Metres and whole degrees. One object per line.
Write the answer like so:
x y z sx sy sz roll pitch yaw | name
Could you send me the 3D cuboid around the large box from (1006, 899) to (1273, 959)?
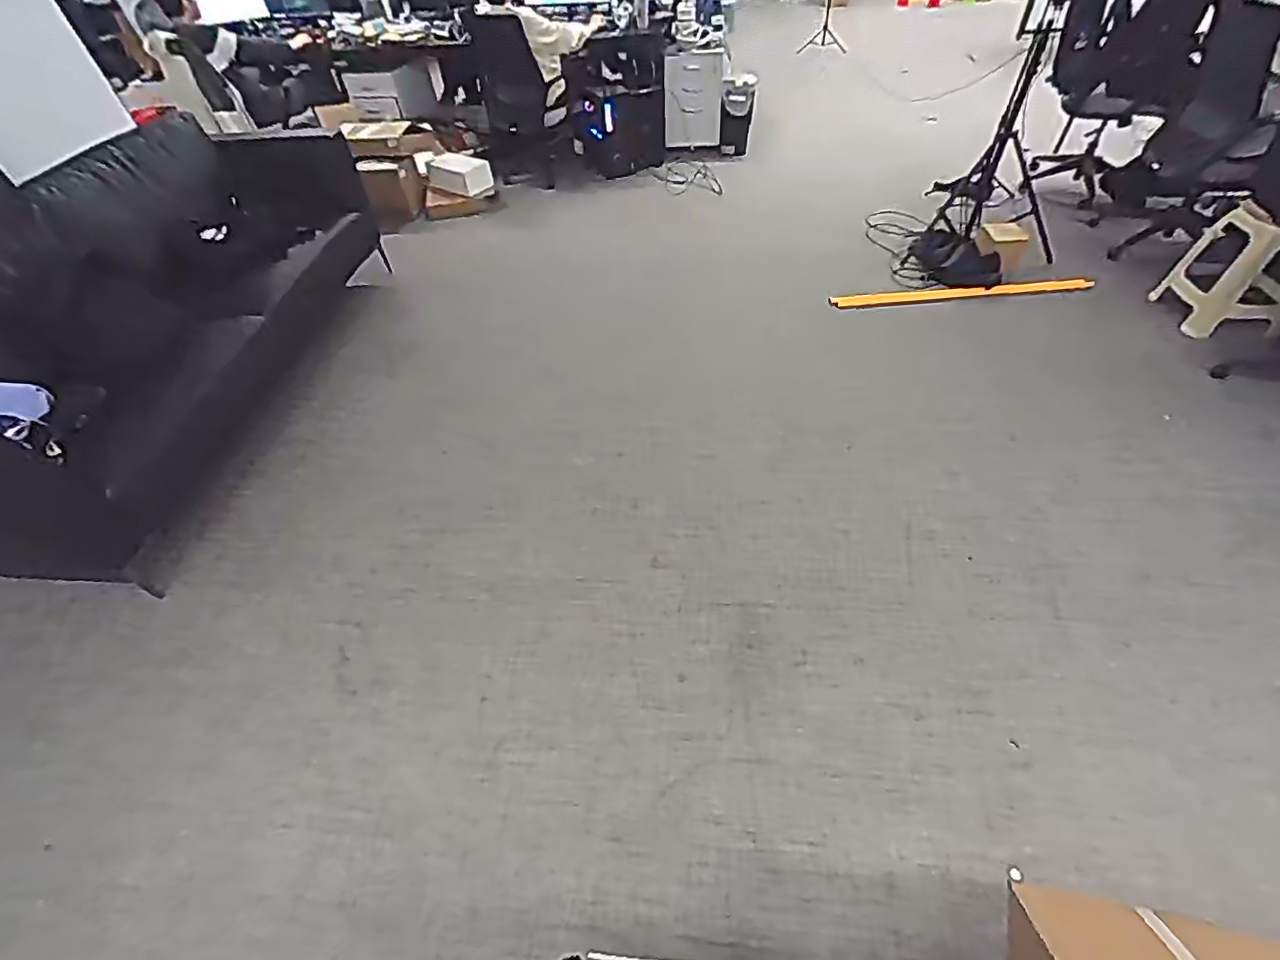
0.615 0.747 0.543 0.320 0.408 0.320 4 87 16 | large box
